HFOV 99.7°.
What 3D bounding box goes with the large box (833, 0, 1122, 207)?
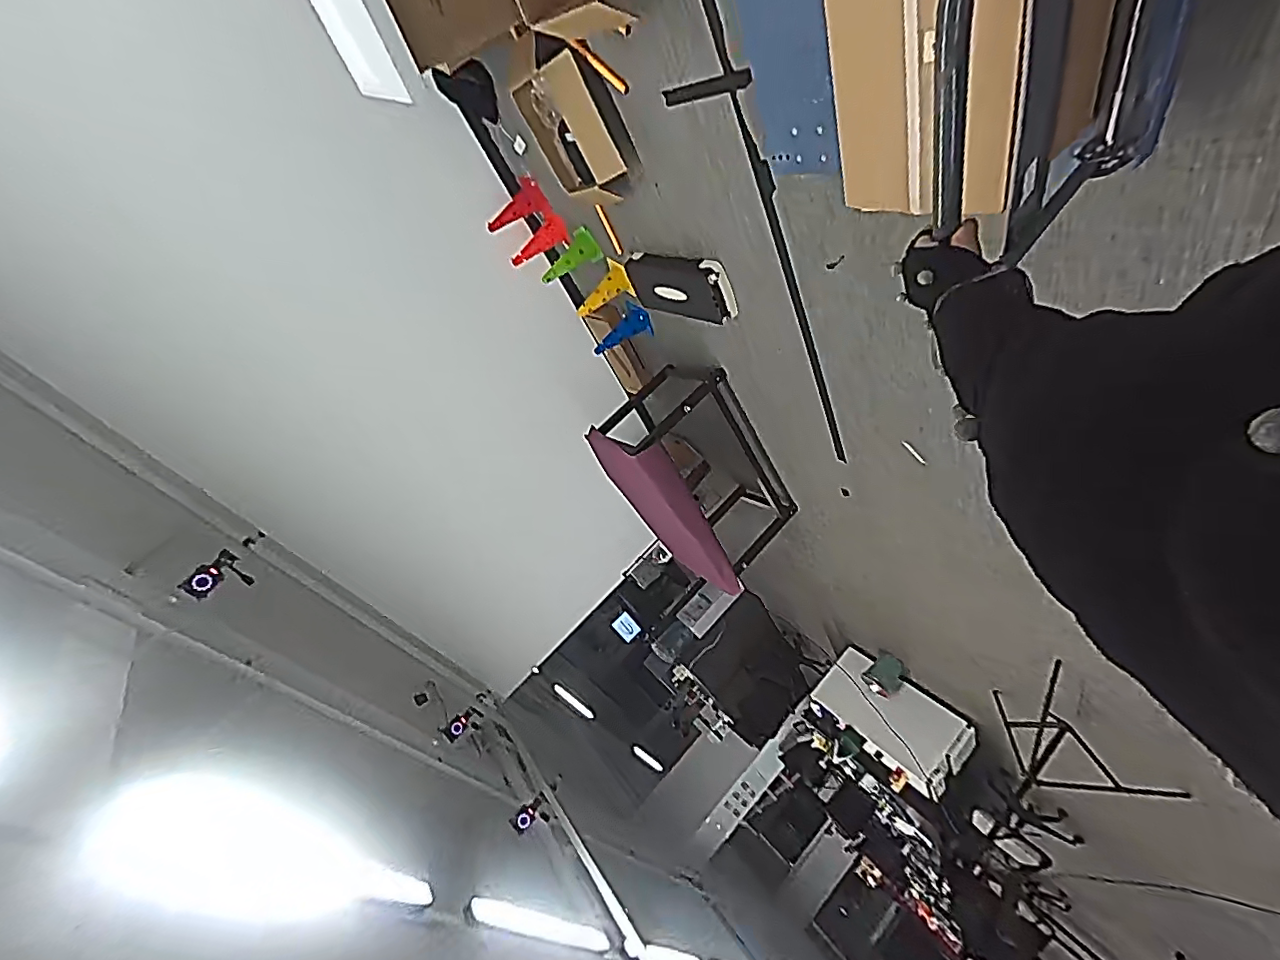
[{"bbox_3d":[0.572,-0.745,0.924,0.320,0.320,0.408,32,159,43],"label":"large box"}]
